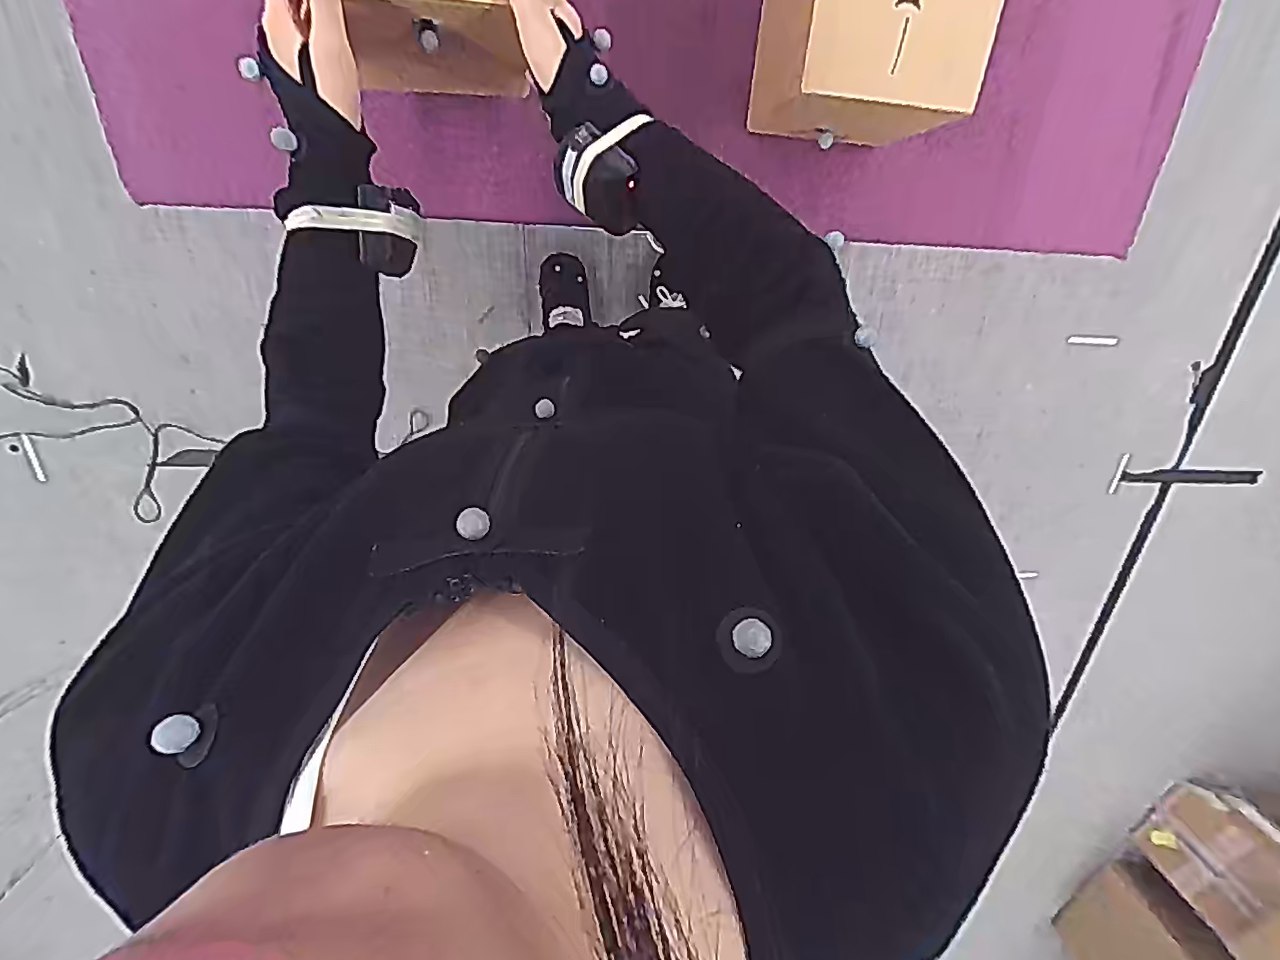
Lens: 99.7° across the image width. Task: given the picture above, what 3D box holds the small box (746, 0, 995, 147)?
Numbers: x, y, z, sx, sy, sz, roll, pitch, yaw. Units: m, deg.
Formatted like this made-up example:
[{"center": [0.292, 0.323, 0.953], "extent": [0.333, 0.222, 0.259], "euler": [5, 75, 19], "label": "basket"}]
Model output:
[{"center": [0.212, -0.445, 0.522], "extent": [0.168, 0.176, 0.179], "euler": [2, 113, -7], "label": "small box"}]

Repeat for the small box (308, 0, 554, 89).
[{"center": [-0.175, -0.444, 0.436], "extent": [0.179, 0.176, 0.168], "euler": [-8, 108, -16], "label": "small box"}]
